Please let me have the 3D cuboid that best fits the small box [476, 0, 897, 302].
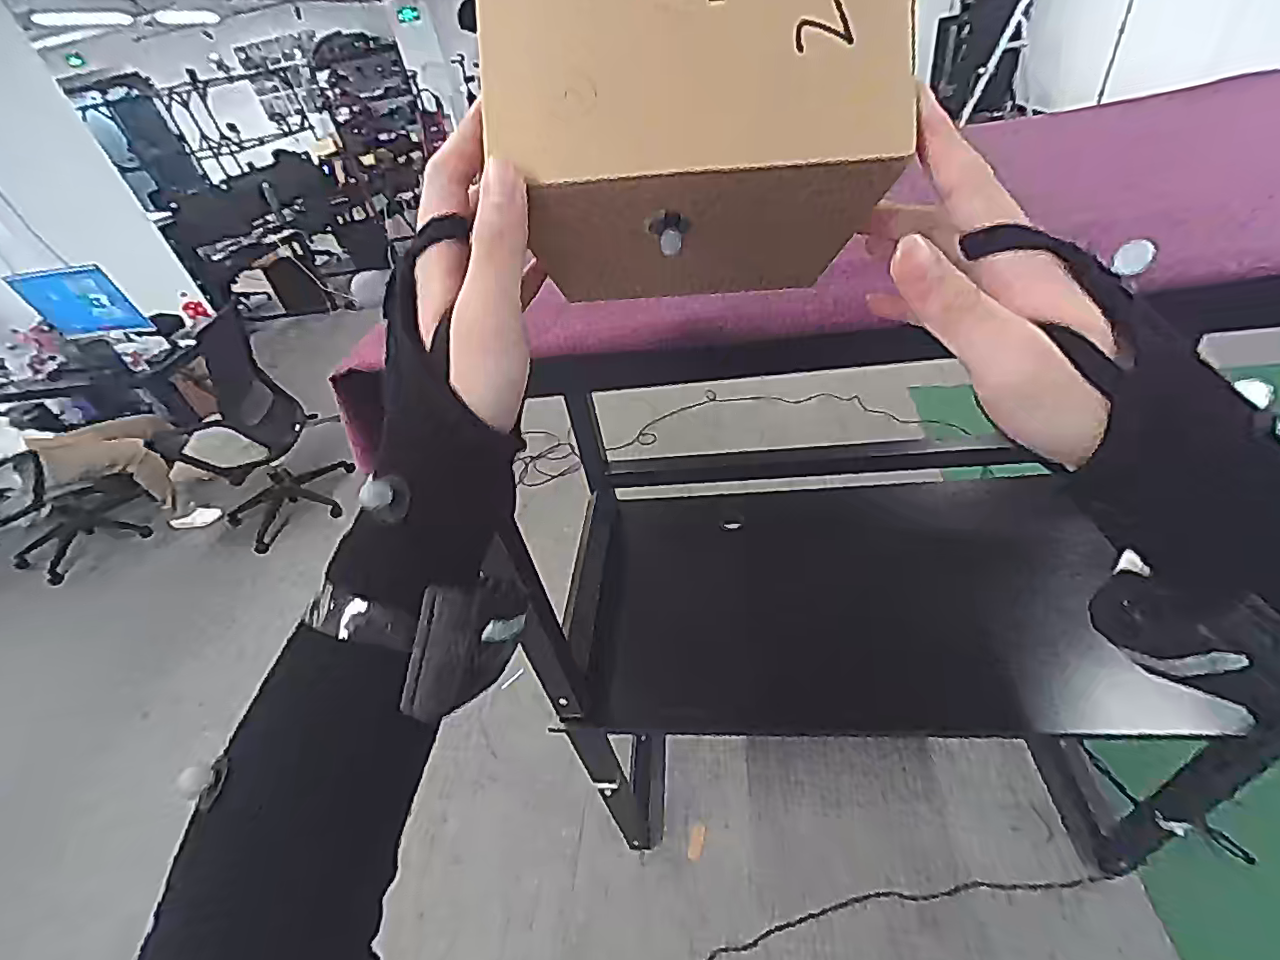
[{"bbox_3d":[0.023,-0.207,0.303,0.179,0.168,0.176,-2,2,5],"label":"small box"}]
